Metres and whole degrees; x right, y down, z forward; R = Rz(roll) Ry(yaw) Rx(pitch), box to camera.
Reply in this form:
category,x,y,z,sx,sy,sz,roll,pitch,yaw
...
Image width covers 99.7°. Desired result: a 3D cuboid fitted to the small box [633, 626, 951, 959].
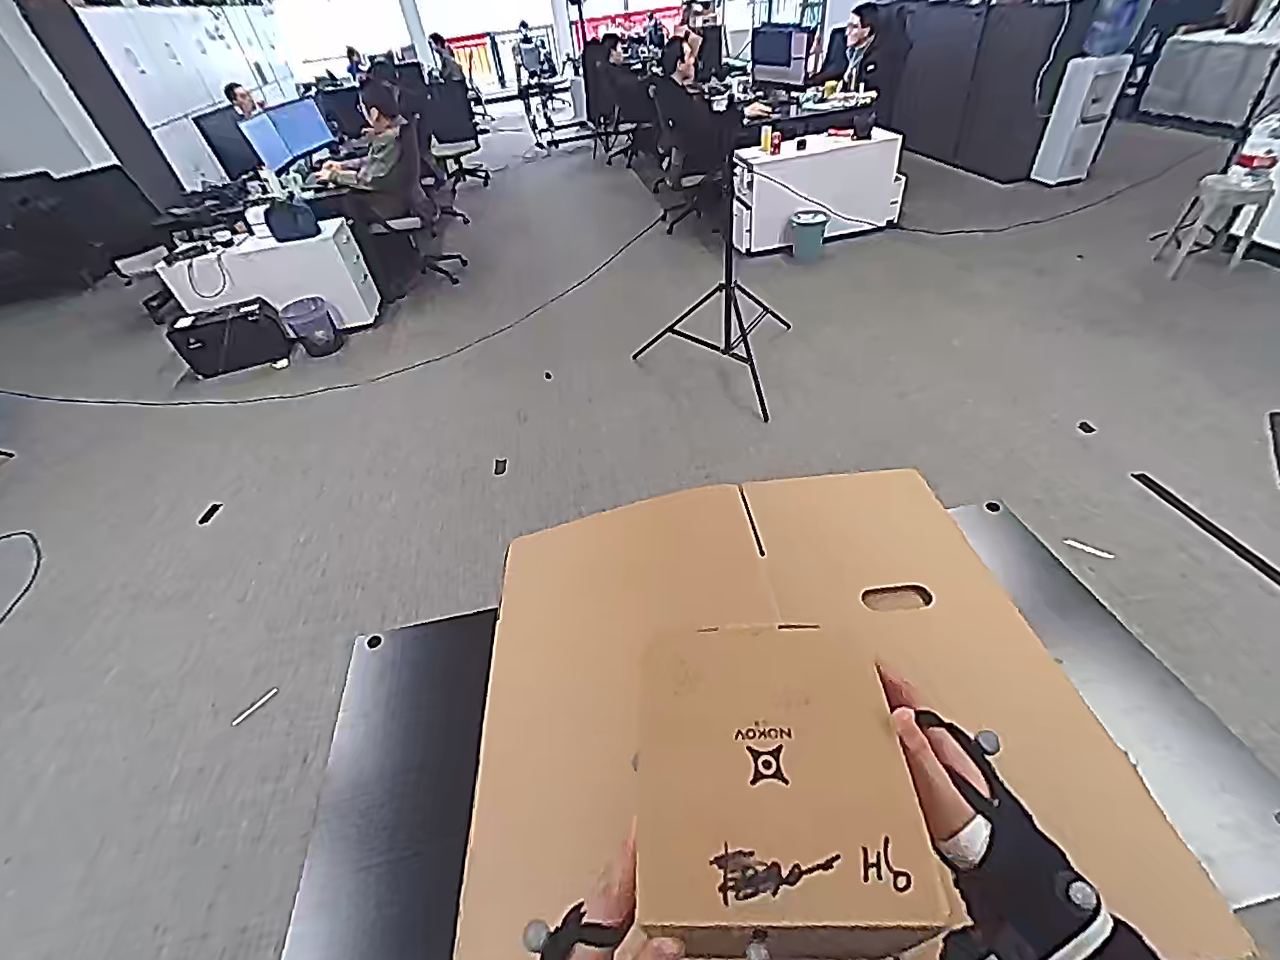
category,x,y,z,sx,sy,sz,roll,pitch,yaw
small box,0.089,0.229,0.395,0.168,0.176,0.179,-5,43,6
